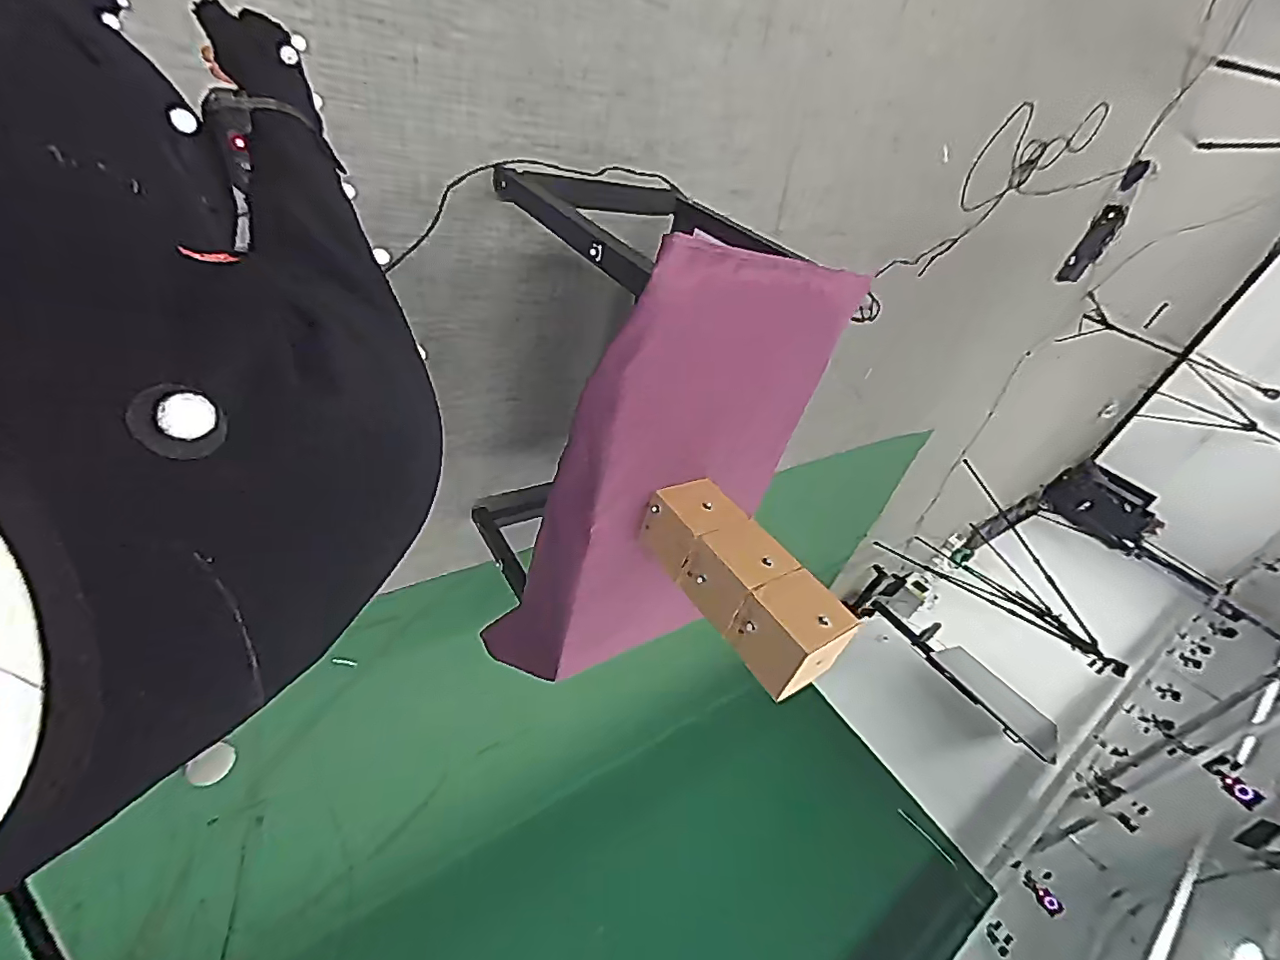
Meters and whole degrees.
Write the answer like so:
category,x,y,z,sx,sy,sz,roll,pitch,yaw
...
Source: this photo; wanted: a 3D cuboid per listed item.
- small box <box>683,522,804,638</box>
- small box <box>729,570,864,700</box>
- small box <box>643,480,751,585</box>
category,x,y,z,sx,sy,sz,roll,pitch,yaw
small box,0.227,0.216,1.220,0.179,0.176,0.168,-12,134,-34
small box,0.320,0.314,1.127,0.179,0.176,0.168,-13,134,-34
small box,0.131,0.121,1.313,0.179,0.176,0.168,-13,135,-35
